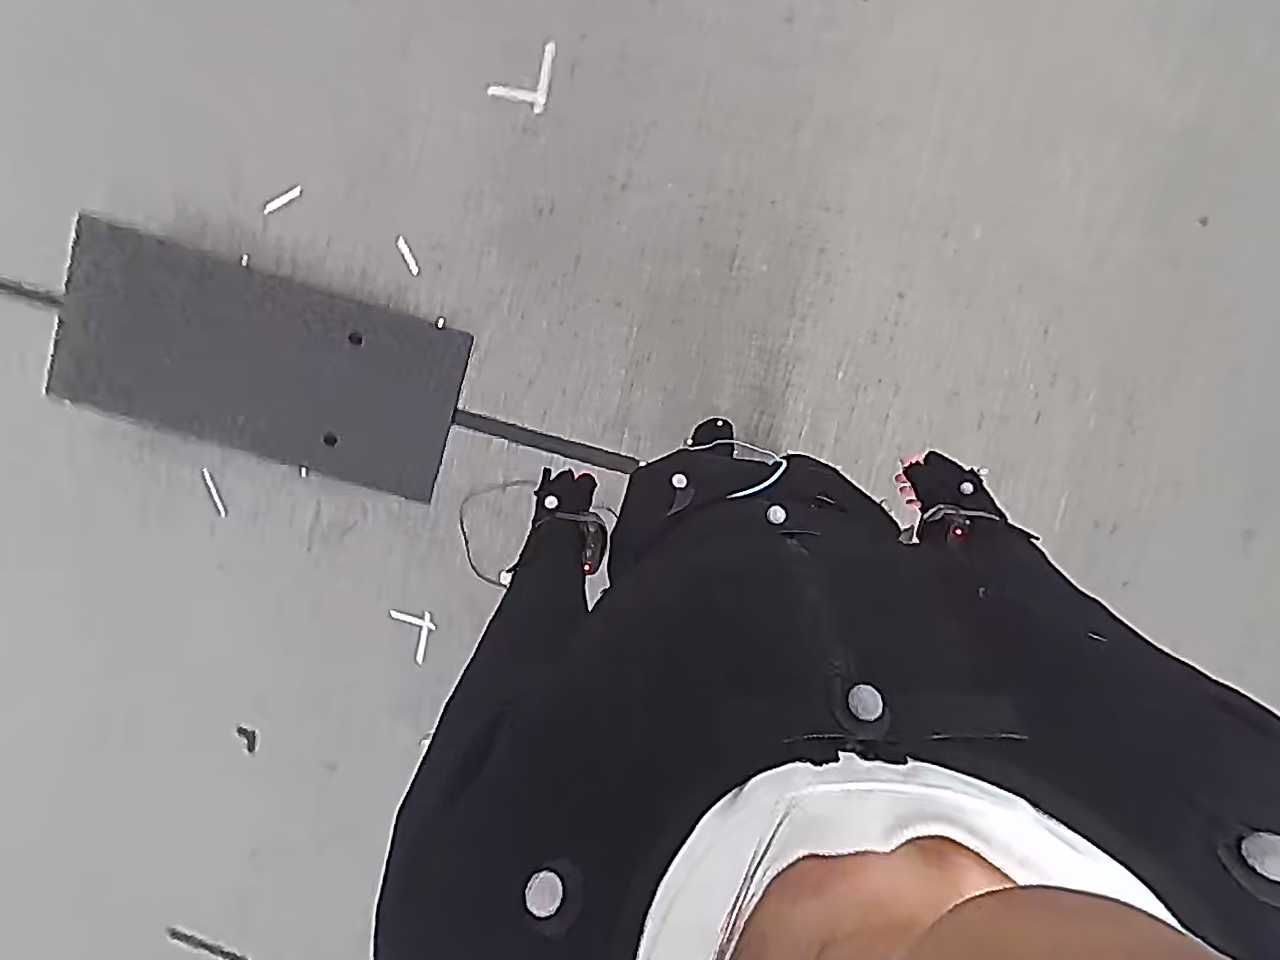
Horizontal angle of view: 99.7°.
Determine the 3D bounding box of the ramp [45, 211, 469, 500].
[{"bbox_3d":[-1.006,-0.312,1.446,0.991,0.206,0.509,16,95,3],"label":"ramp"}]
